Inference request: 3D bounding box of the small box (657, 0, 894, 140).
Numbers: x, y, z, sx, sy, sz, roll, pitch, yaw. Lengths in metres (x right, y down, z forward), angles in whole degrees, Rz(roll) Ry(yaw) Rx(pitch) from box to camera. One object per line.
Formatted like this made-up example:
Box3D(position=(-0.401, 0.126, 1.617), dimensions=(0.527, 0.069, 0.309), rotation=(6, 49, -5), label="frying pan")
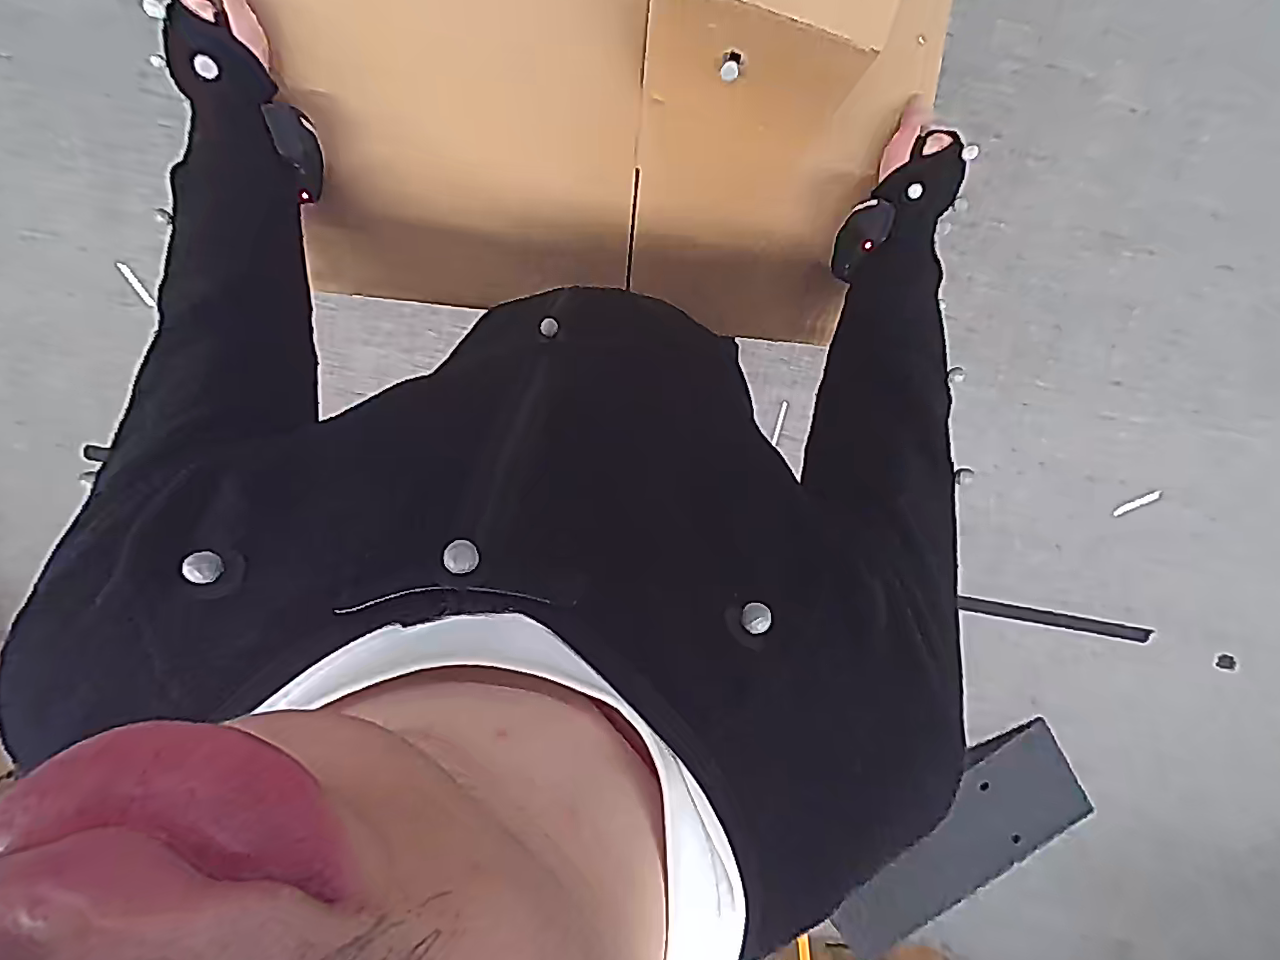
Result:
Box3D(position=(0.118, -0.432, 0.468), dimensions=(0.179, 0.176, 0.168), rotation=(16, 100, -3), label="small box")
